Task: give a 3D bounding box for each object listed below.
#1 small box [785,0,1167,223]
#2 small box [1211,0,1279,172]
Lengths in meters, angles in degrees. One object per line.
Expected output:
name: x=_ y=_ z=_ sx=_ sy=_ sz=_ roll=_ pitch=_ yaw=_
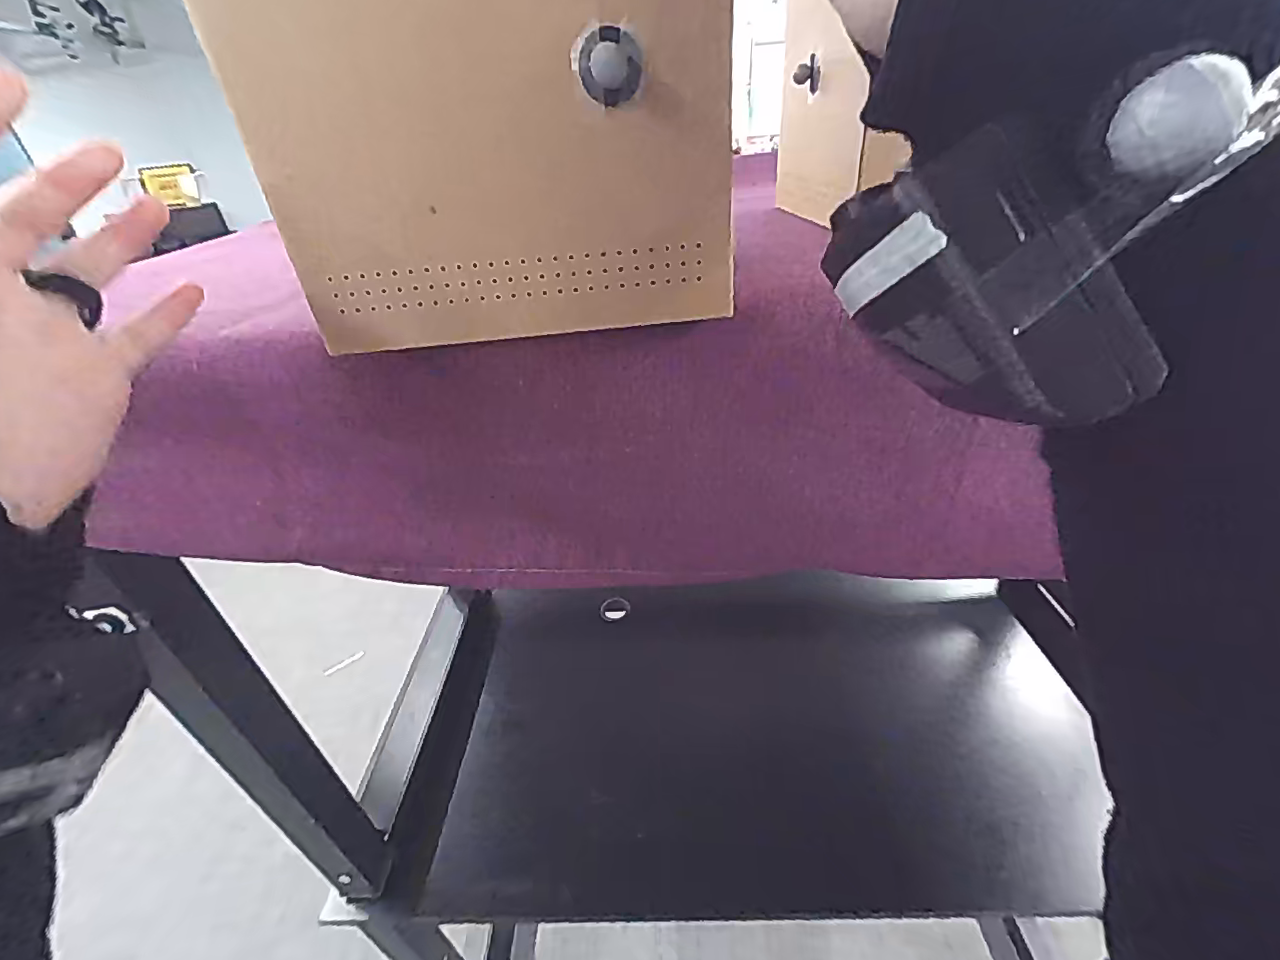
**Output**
small box: x=0.205 y=-0.276 z=0.365 sx=0.168 sy=0.176 sz=0.179 roll=-6 pitch=32 yaw=-1
small box: x=0.535 y=-0.287 z=0.332 sx=0.168 sy=0.176 sz=0.179 roll=-2 pitch=33 yaw=6
